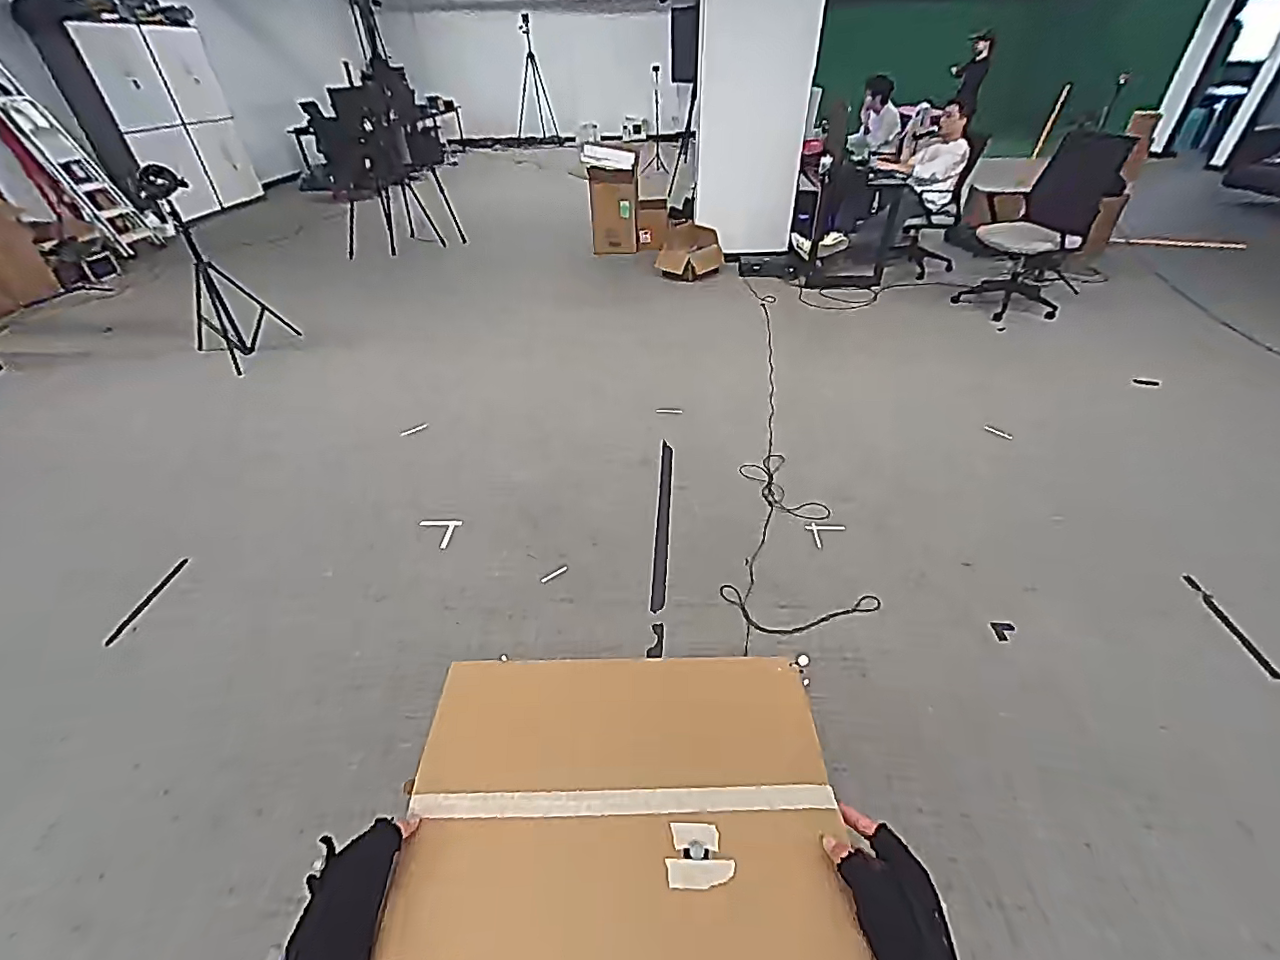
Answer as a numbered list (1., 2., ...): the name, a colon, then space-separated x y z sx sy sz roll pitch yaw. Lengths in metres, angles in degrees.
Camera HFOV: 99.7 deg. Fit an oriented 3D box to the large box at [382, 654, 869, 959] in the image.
1. large box: -0.017 0.427 0.630 0.408 0.320 0.320 0 39 -1
